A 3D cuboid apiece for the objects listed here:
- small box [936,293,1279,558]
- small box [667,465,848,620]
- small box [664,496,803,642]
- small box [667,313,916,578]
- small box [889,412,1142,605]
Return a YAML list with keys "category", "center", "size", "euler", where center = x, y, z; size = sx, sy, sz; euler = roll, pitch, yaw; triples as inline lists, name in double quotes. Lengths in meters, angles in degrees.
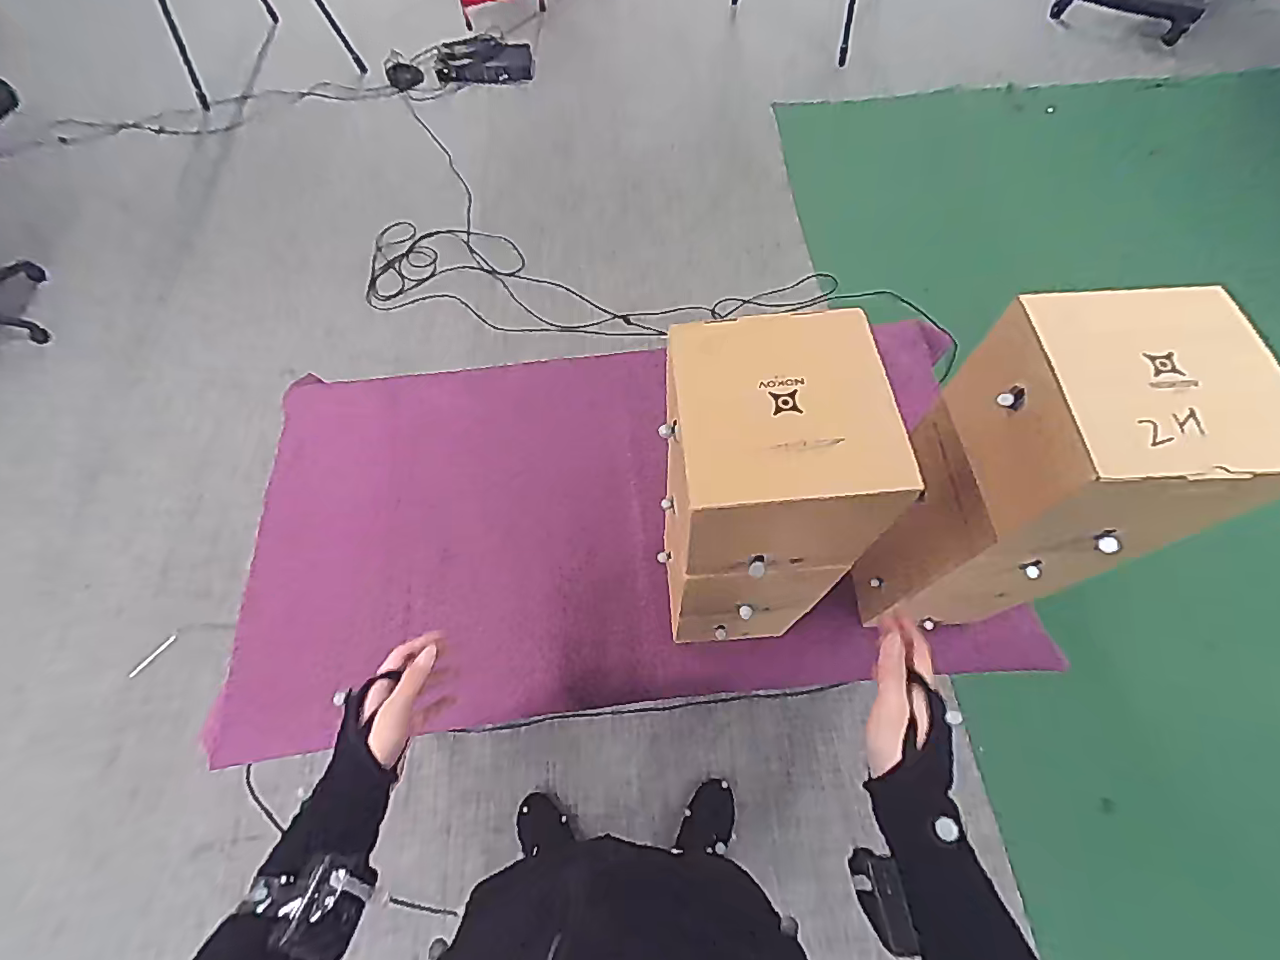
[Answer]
- category: "small box"
  center: [0.395, -0.040, 0.481]
  size: [0.168, 0.176, 0.179]
  euler: [-1, 64, 2]
- category: "small box"
  center: [0.119, 0.053, 0.632]
  size: [0.168, 0.176, 0.179]
  euler: [-4, 62, 1]
- category: "small box"
  center: [0.123, 0.130, 0.777]
  size: [0.168, 0.176, 0.179]
  euler: [-4, 62, 0]
- category: "small box"
  center: [0.112, -0.023, 0.489]
  size: [0.168, 0.176, 0.179]
  euler: [-4, 63, 1]
- category: "small box"
  center: [0.400, 0.036, 0.627]
  size: [0.168, 0.176, 0.179]
  euler: [-2, 62, 2]
